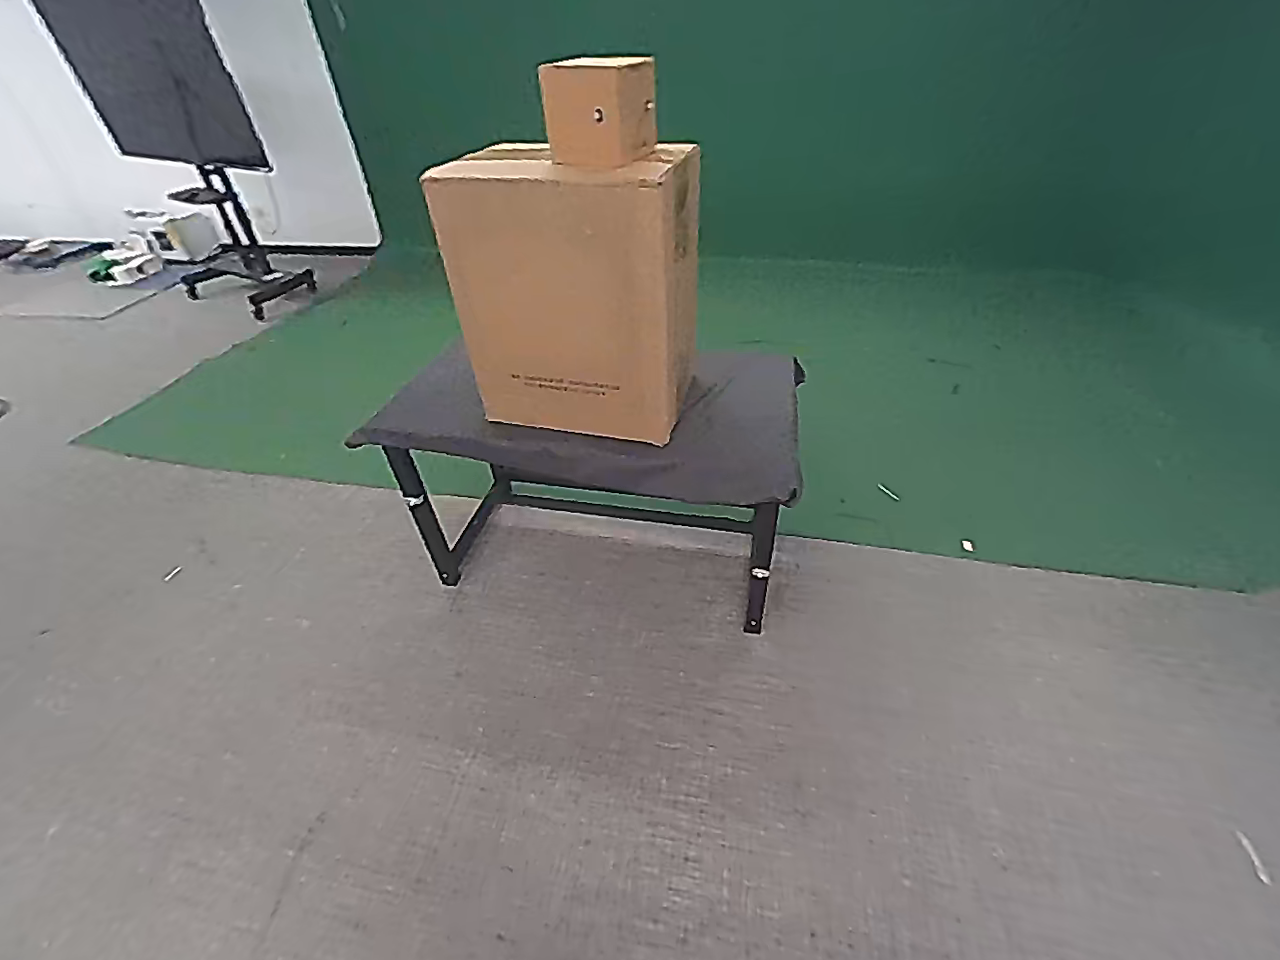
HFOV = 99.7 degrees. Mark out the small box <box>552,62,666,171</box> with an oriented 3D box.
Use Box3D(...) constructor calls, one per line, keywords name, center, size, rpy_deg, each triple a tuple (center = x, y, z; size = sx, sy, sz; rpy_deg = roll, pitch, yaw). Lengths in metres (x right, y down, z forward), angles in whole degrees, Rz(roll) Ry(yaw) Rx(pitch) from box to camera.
Box3D(name="small box", center=(-0.056, -0.759, 1.132), size=(0.179, 0.176, 0.168), rpy_deg=(17, 45, 23))
